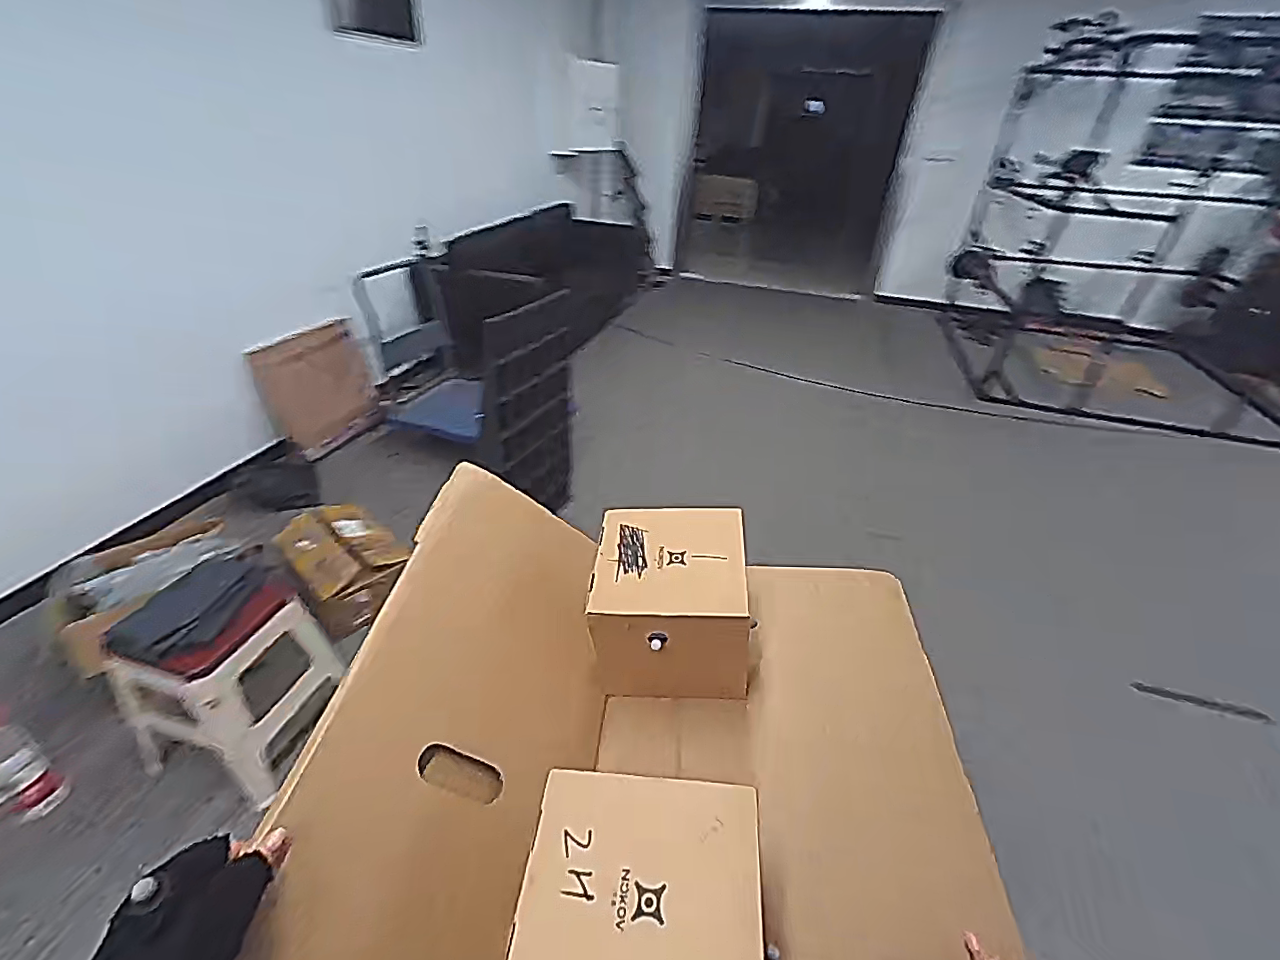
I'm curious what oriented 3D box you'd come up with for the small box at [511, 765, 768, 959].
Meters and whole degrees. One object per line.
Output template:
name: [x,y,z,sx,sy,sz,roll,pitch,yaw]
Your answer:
small box: [0.012,0.363,0.445,0.179,0.176,0.168,1,40,11]
